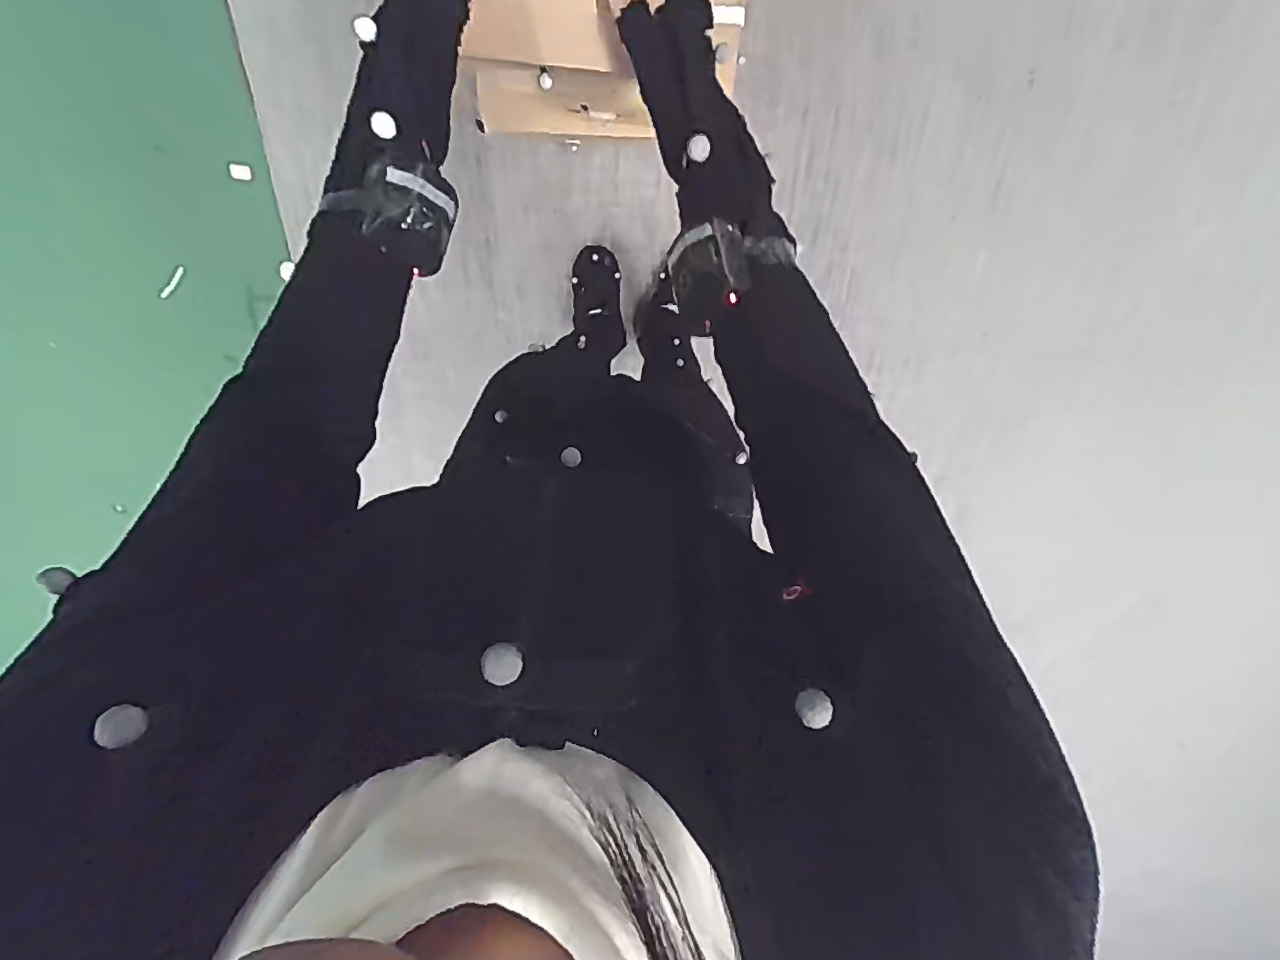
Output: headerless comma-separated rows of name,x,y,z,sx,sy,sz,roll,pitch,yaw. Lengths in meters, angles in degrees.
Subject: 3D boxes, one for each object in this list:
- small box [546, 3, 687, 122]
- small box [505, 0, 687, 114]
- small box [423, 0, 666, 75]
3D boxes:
small box,-0.029,-0.606,0.747,0.168,0.176,0.179,8,122,4
small box,-0.042,-0.520,0.607,0.179,0.176,0.168,9,122,5
small box,-0.065,-0.426,0.423,0.179,0.176,0.168,2,126,-2
